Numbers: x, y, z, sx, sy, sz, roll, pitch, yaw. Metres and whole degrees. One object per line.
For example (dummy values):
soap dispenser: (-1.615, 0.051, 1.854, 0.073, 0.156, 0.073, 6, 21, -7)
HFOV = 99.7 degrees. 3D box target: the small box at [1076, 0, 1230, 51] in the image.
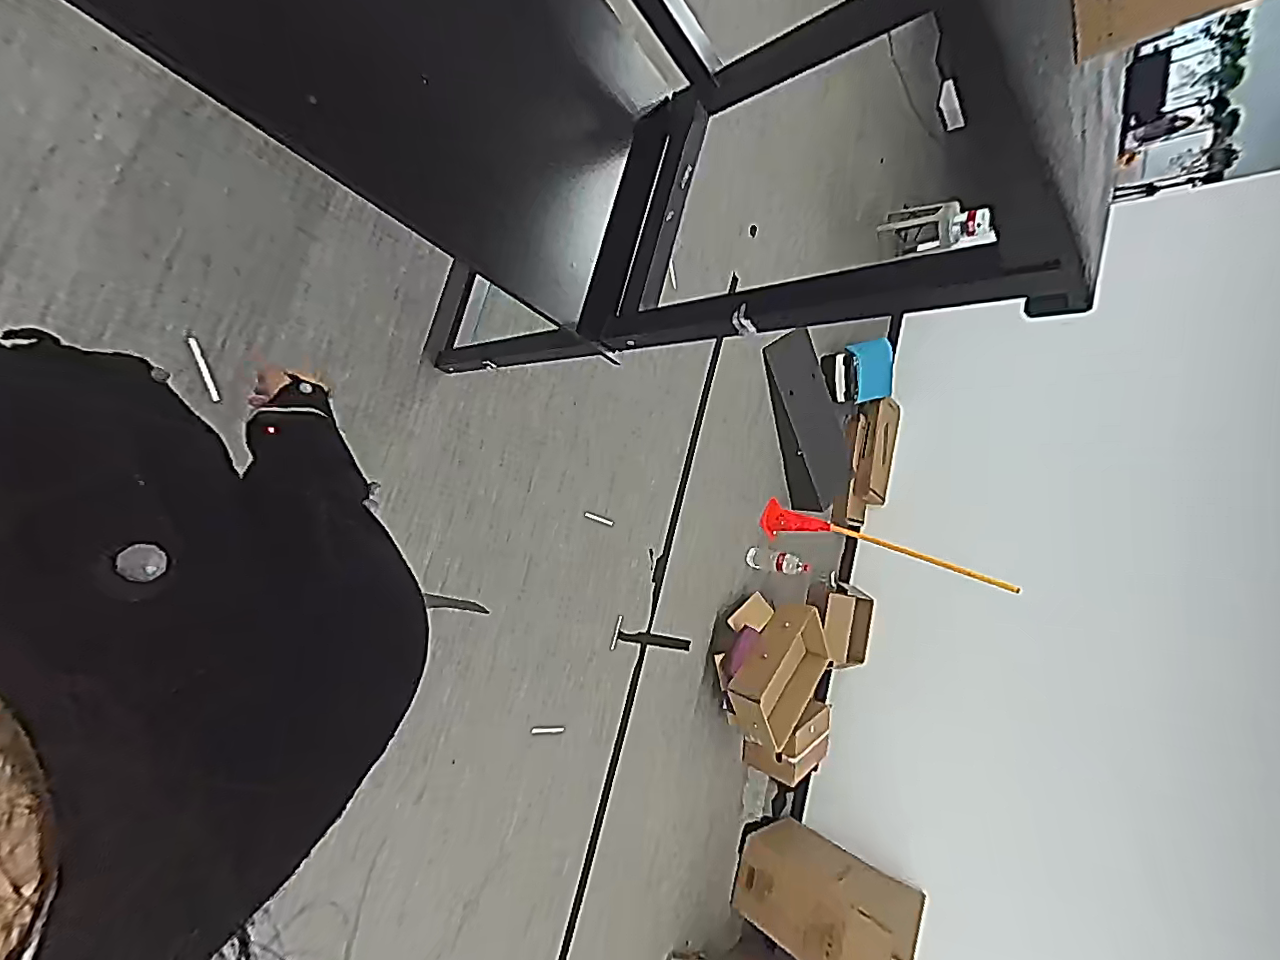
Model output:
small box: (0.366, -0.416, 0.317, 0.168, 0.176, 0.179, 31, 70, -44)
